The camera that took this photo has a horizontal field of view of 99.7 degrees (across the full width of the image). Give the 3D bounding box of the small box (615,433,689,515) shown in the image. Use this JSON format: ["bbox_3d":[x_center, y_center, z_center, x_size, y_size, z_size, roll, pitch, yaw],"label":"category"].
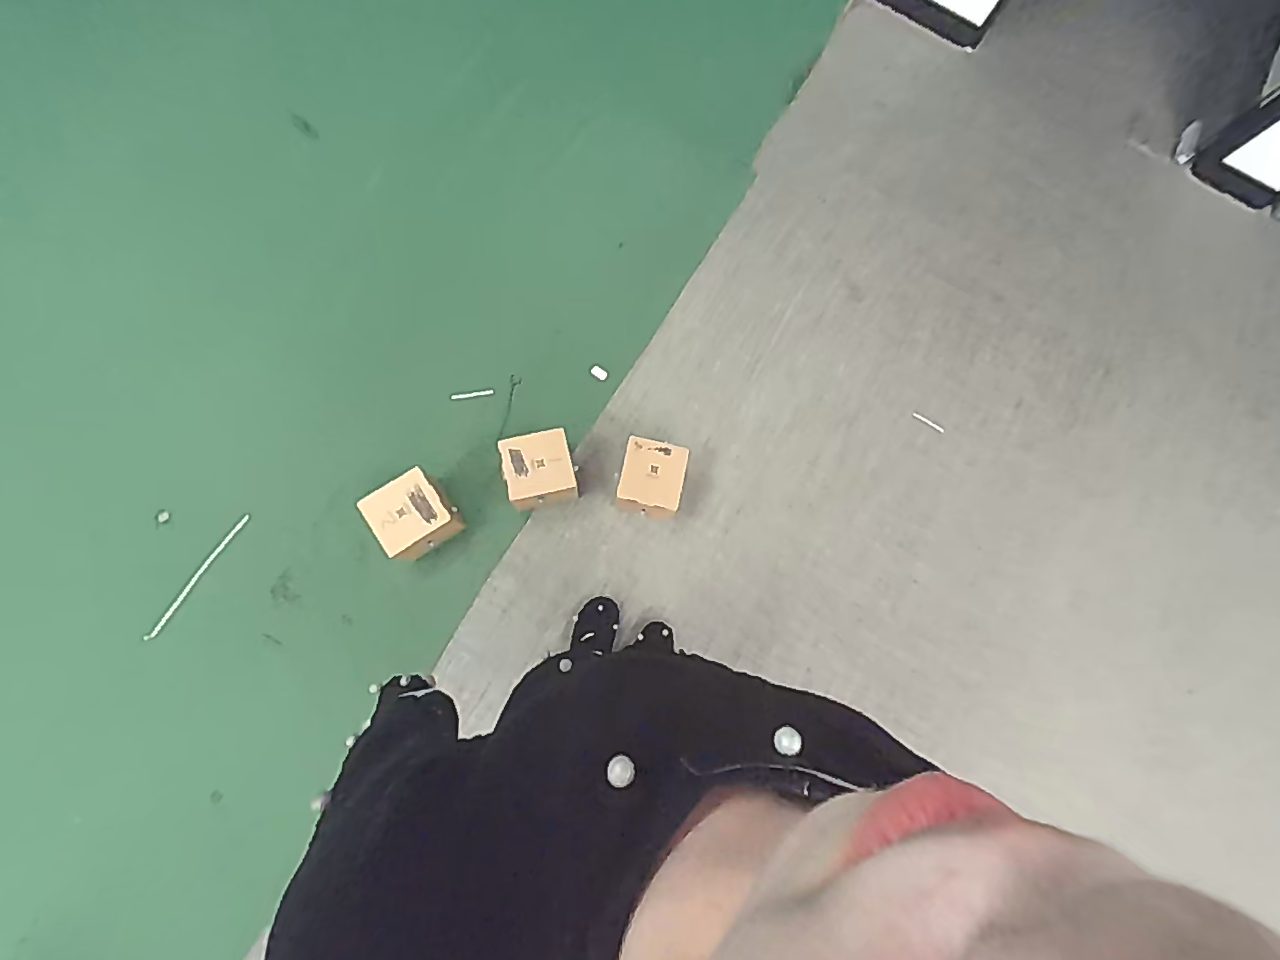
[{"bbox_3d":[0.029,-0.008,1.489,0.168,0.176,0.179,13,78,-2],"label":"small box"}]

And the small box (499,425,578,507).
[{"bbox_3d":[-0.269,-0.032,1.467,0.179,0.176,0.168,-13,79,-8],"label":"small box"}]
